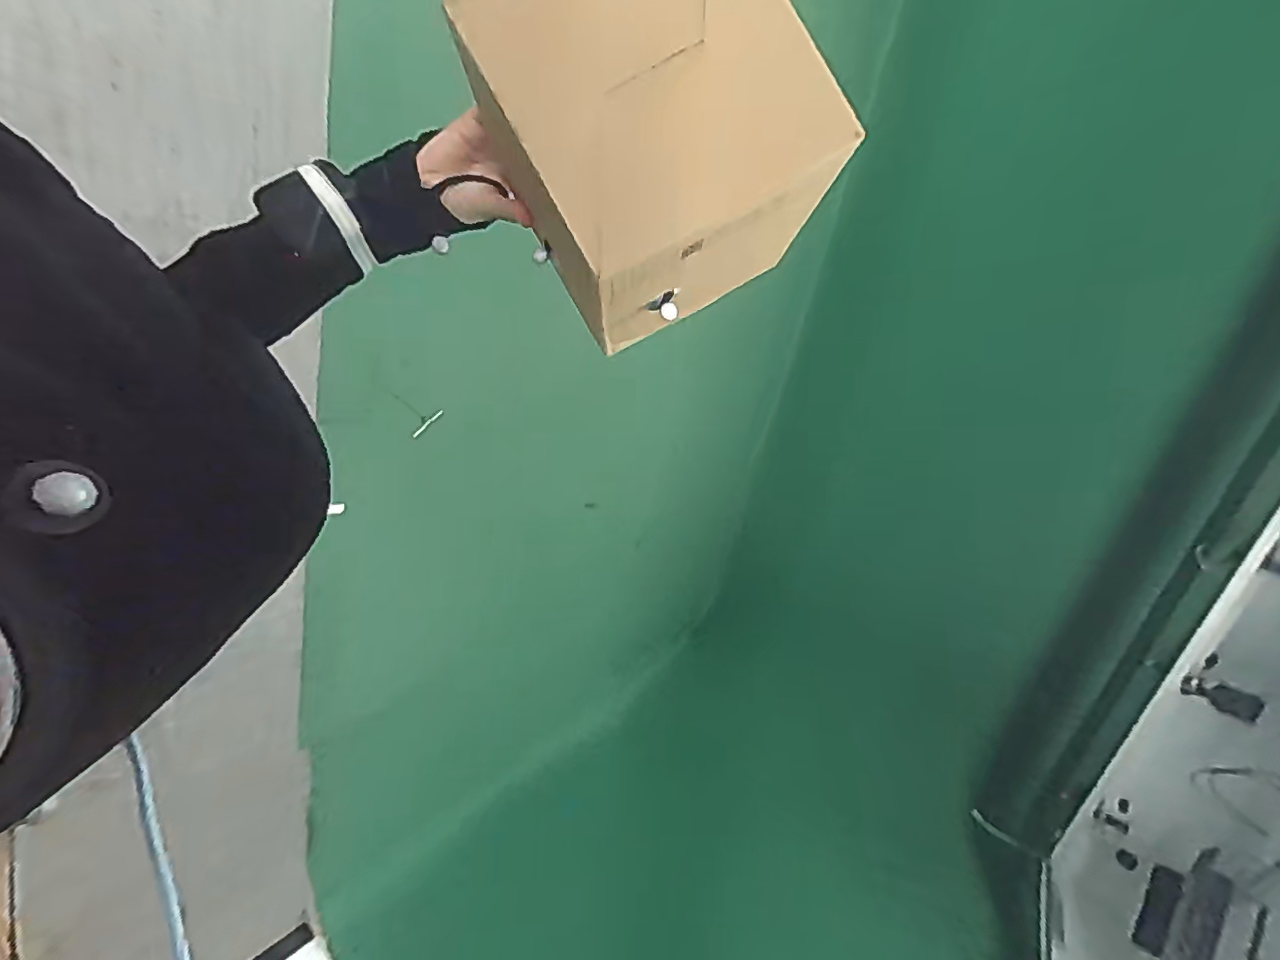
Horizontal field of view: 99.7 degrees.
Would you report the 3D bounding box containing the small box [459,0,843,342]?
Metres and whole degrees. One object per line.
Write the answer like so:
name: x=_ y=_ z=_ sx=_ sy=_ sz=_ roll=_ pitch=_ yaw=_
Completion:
small box: x=0.007 y=-0.227 z=0.360 sx=0.168 sy=0.179 sz=0.176 roll=-30 pitch=180 yaw=-3
